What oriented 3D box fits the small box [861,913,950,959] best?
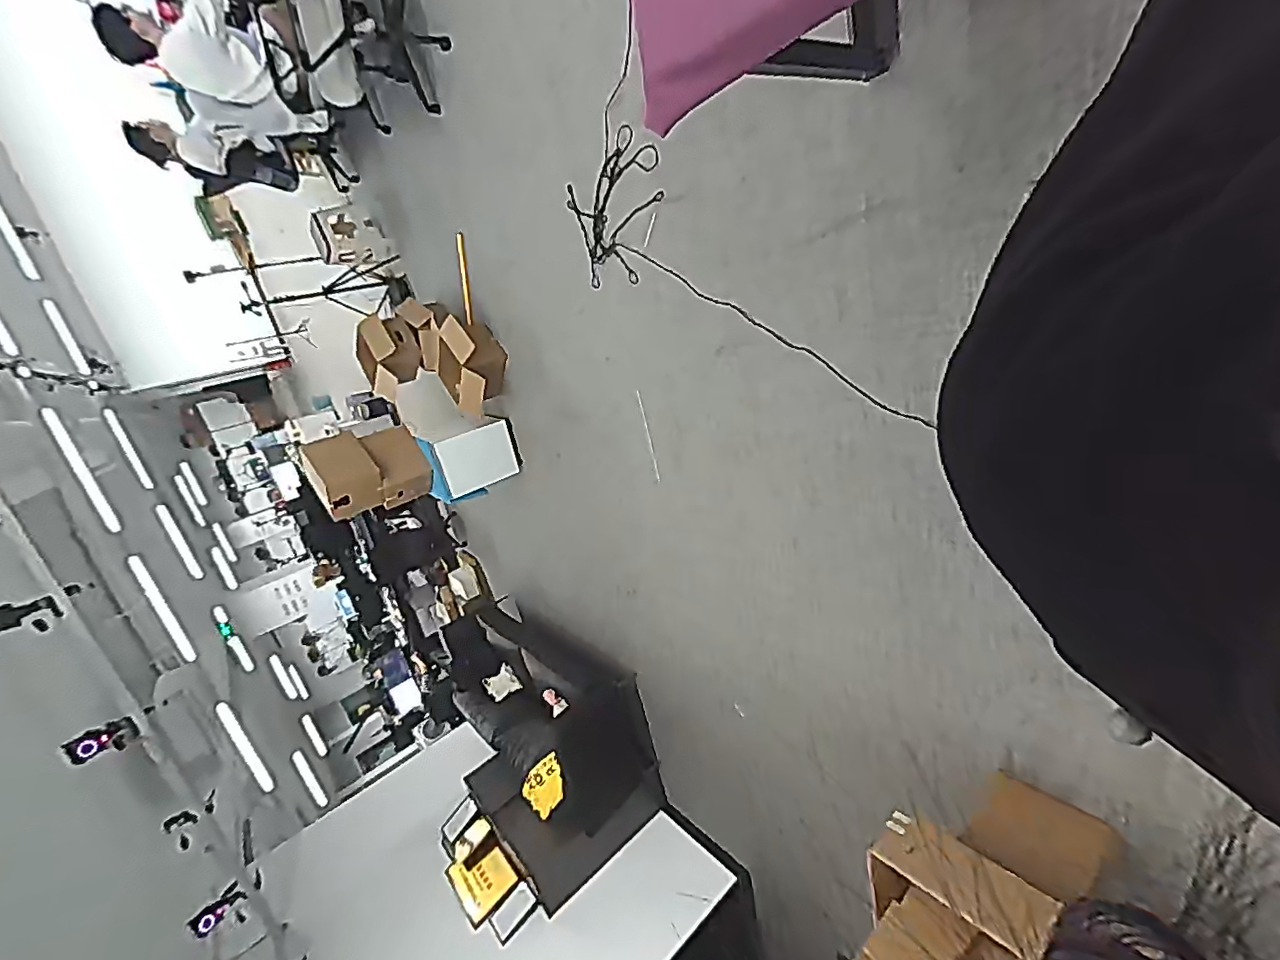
[{"bbox_3d":[0.716,1.330,1.446,0.179,0.176,0.168,17,123,50],"label":"small box"}]
